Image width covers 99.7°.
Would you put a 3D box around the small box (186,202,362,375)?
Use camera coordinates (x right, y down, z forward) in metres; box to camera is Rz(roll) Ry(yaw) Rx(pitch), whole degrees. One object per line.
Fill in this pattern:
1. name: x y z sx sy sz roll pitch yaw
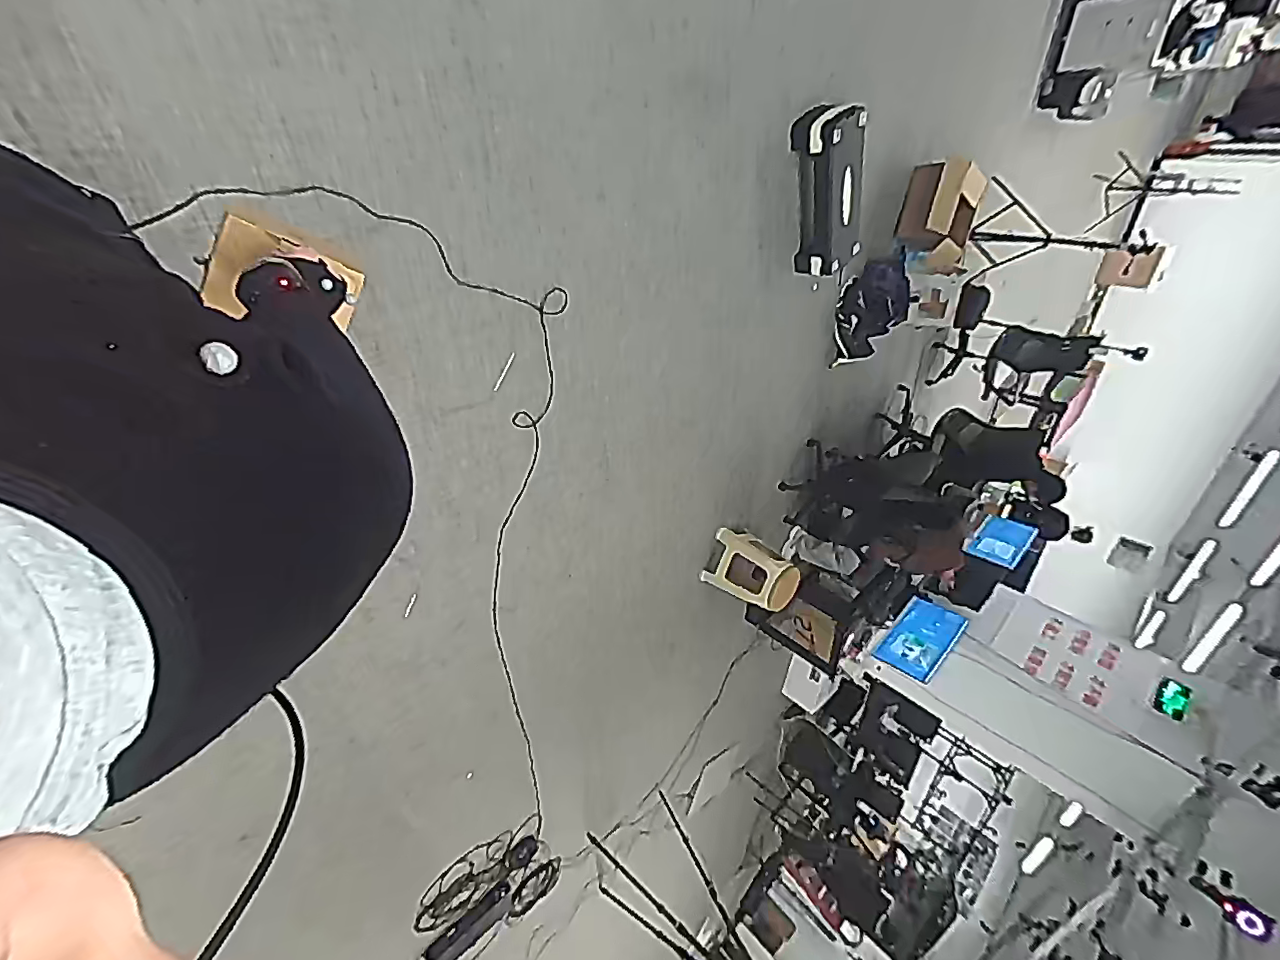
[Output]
1. small box: -0.529 -0.272 0.784 0.168 0.179 0.176 18 105 -42
